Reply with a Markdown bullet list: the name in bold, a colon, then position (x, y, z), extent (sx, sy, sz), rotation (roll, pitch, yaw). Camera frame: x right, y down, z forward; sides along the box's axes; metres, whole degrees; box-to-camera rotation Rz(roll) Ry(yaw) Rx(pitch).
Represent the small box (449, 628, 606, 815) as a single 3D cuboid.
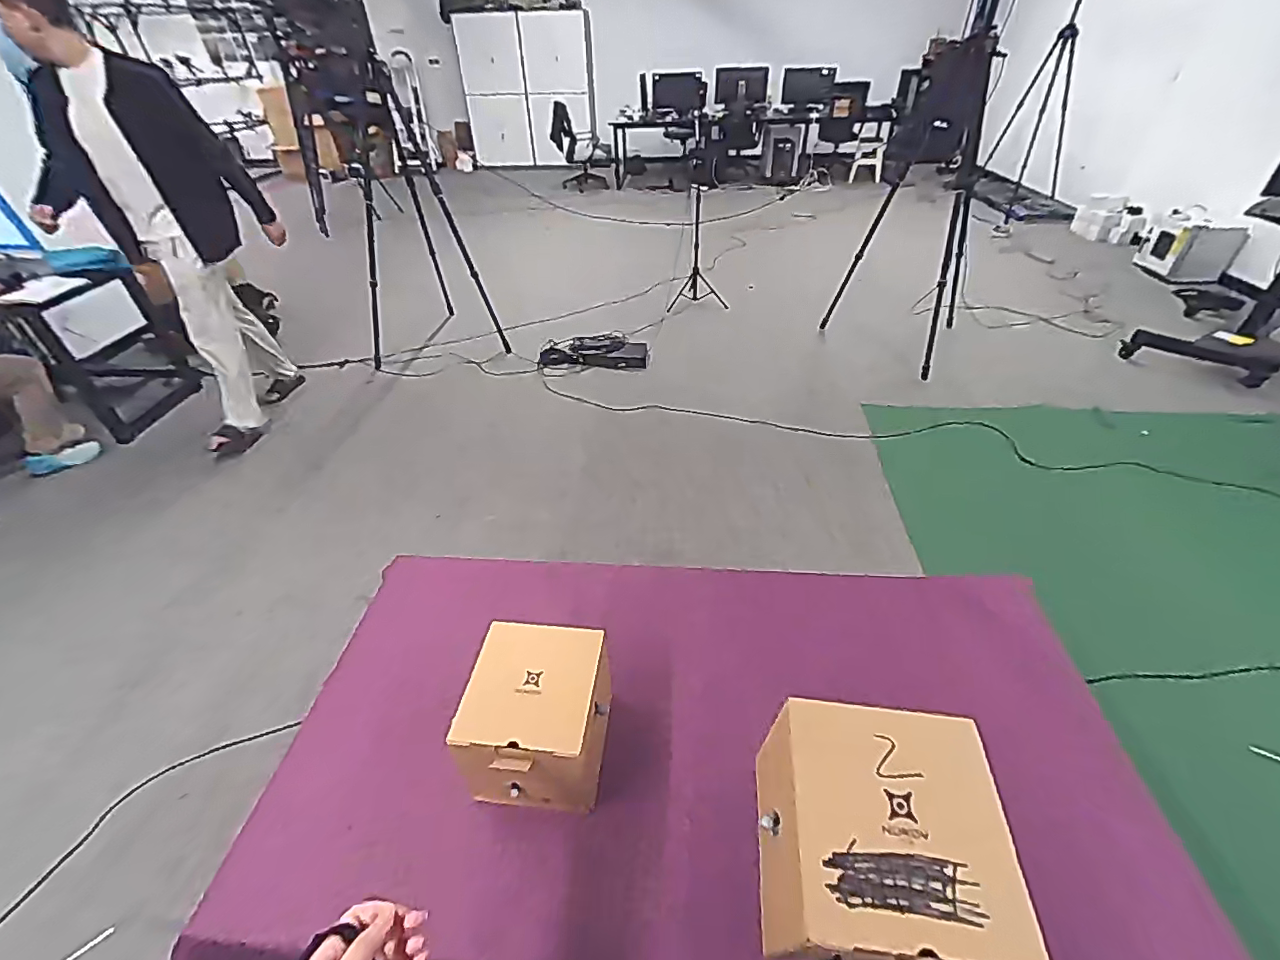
- **small box**: position (-0.143, 0.336, 0.761), extent (0.168, 0.176, 0.179), rotation (3, 40, 6)
